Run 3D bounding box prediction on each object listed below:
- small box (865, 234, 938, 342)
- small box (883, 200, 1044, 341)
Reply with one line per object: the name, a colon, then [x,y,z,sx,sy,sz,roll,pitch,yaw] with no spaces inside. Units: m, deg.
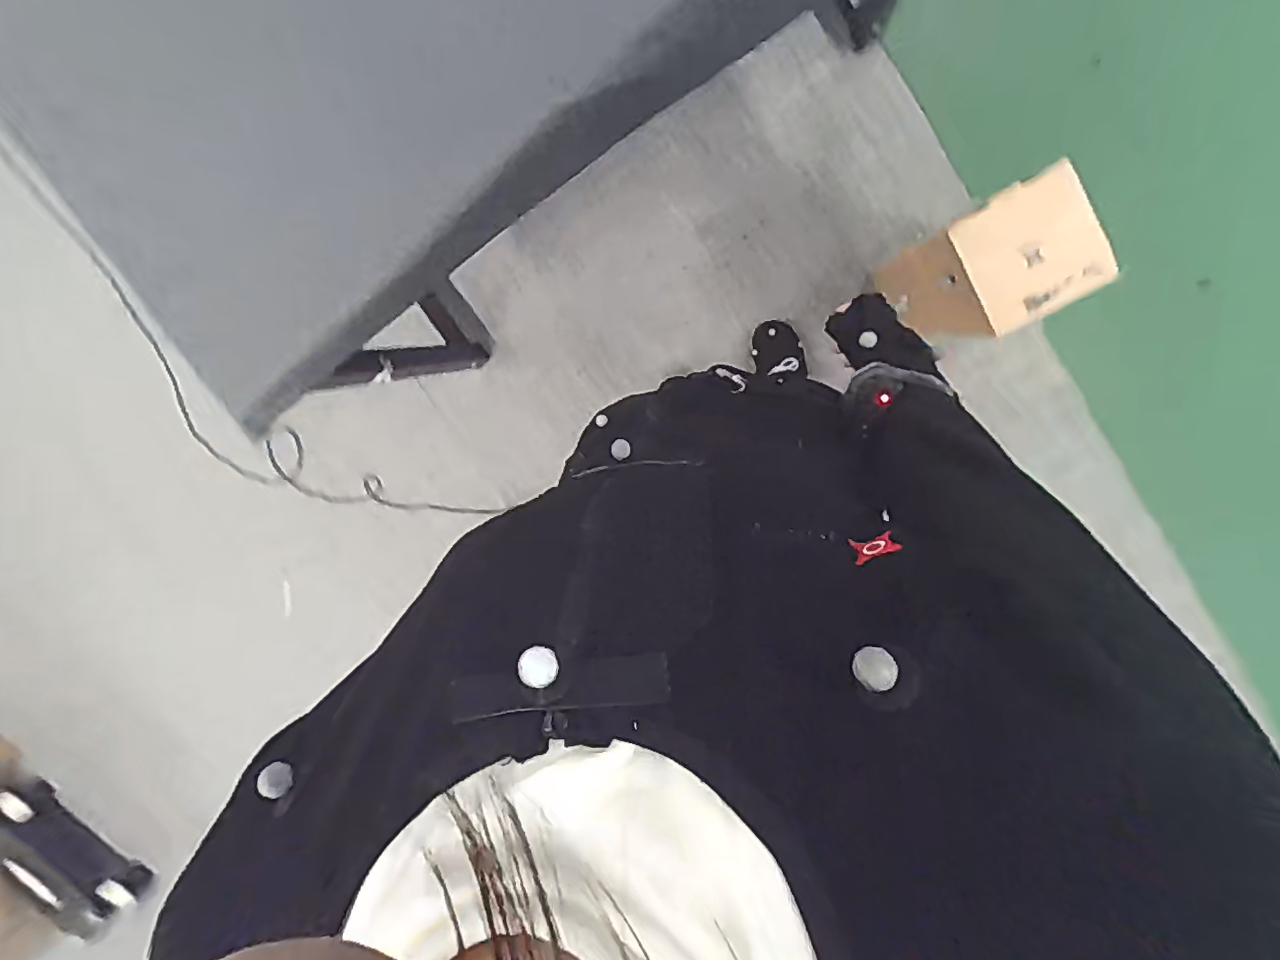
small box: [0.606,-0.410,1.147,0.179,0.176,0.168,-29,96,18]
small box: [0.578,-0.372,0.990,0.179,0.176,0.168,-29,96,17]
